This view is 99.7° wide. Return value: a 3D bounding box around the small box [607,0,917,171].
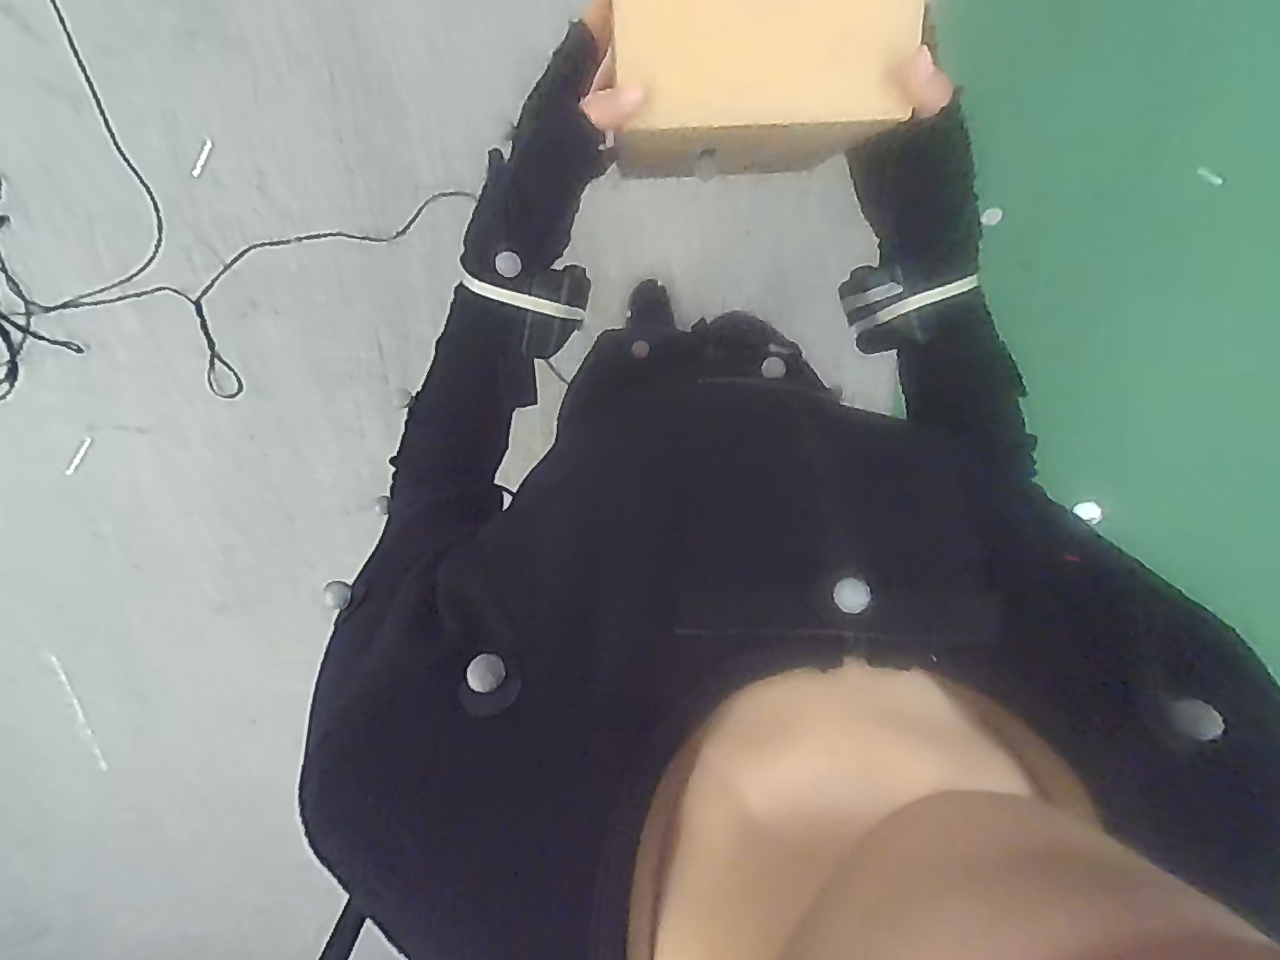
[{"bbox_3d":[0.062,-0.311,0.349,0.168,0.176,0.179,-3,108,-1],"label":"small box"}]
